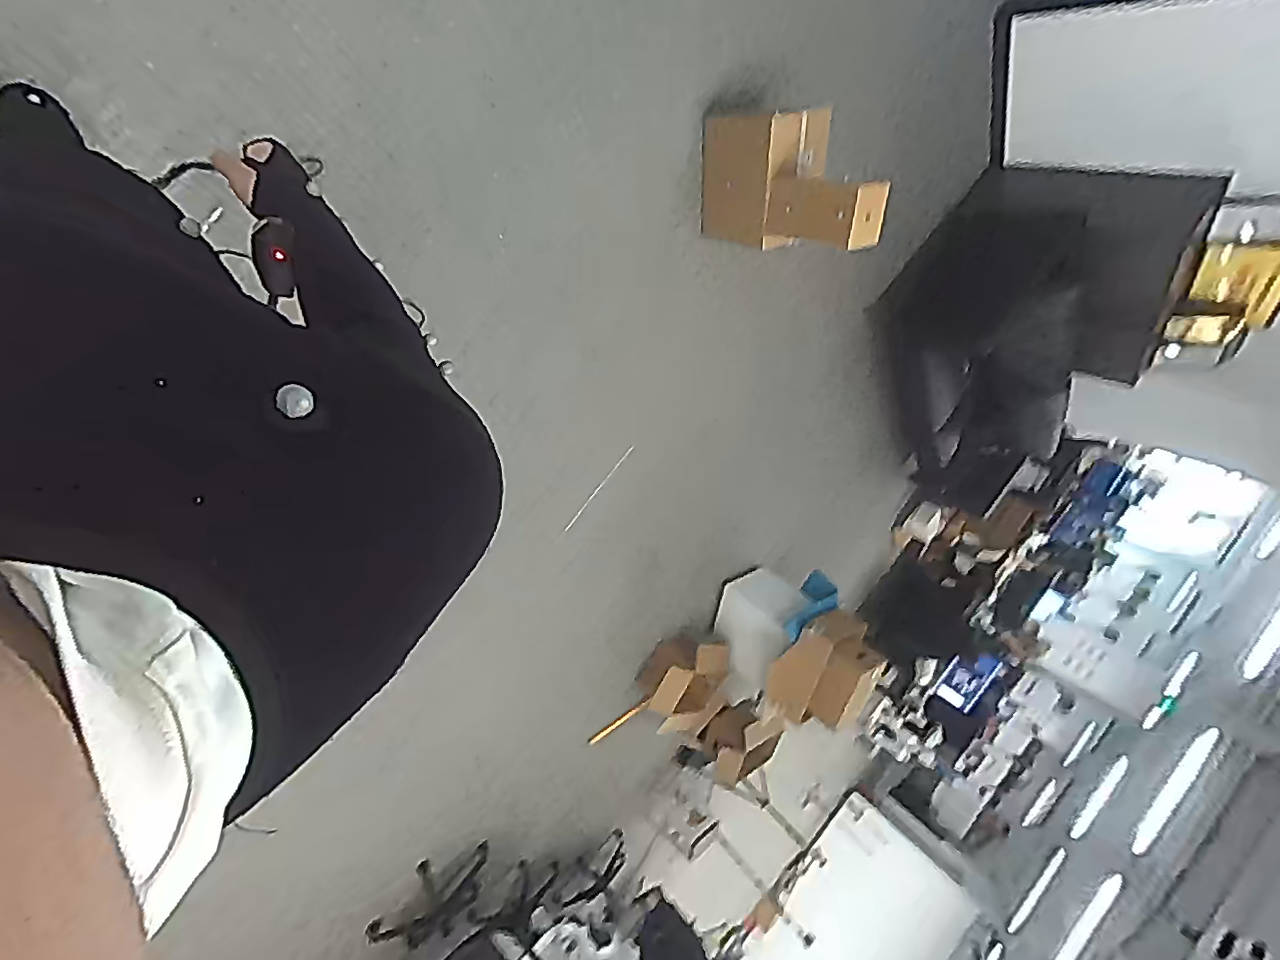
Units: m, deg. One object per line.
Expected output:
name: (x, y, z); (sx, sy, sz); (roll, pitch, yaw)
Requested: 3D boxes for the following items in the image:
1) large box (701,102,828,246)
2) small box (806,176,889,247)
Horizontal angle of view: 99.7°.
large box: (0.435, -1.112, 1.959); (0.320, 0.320, 0.408); (-29, 133, -29)
small box: (0.648, -0.852, 1.710); (0.168, 0.176, 0.179); (-24, 130, -30)
